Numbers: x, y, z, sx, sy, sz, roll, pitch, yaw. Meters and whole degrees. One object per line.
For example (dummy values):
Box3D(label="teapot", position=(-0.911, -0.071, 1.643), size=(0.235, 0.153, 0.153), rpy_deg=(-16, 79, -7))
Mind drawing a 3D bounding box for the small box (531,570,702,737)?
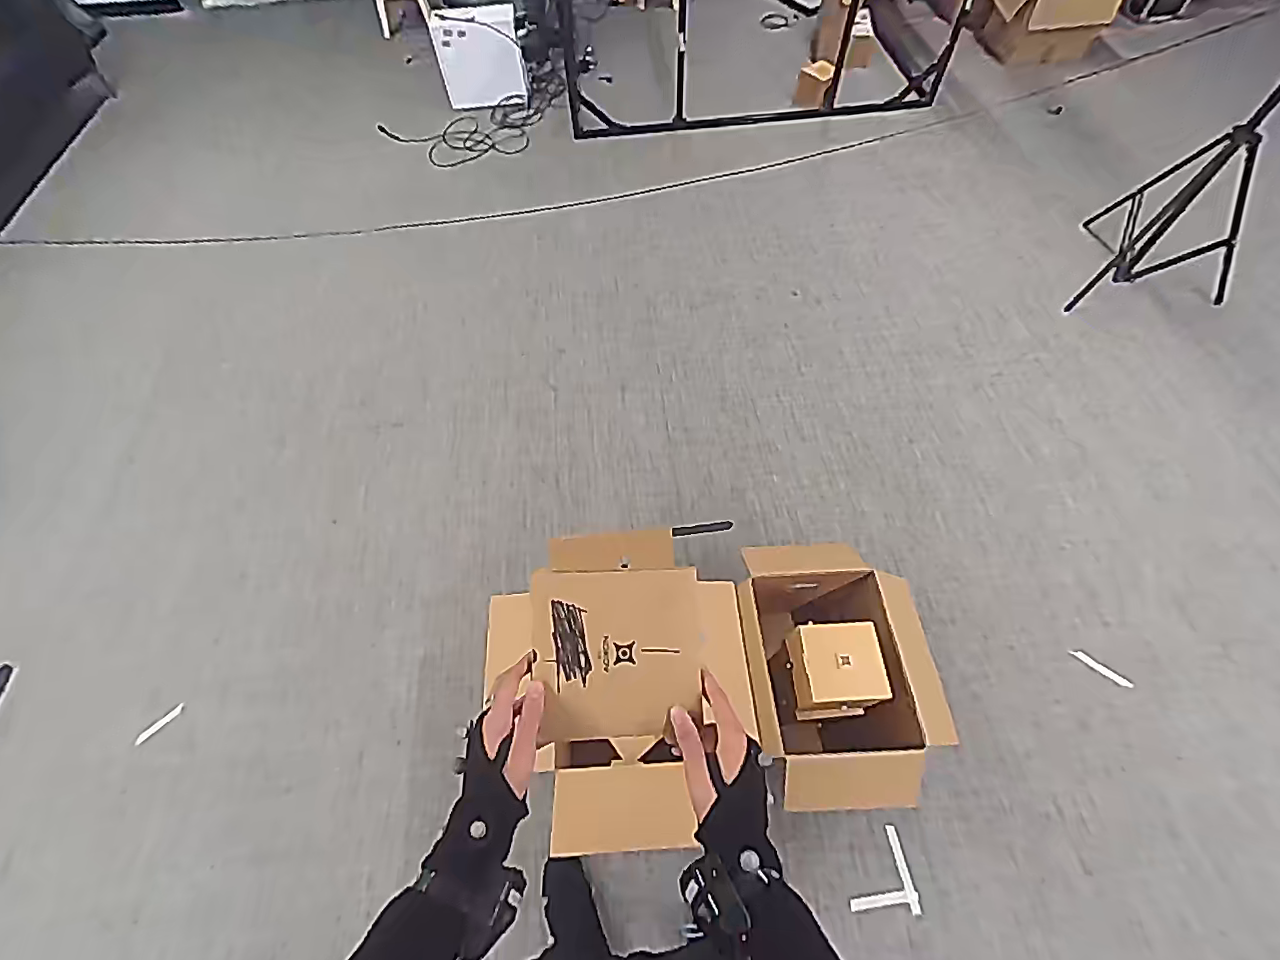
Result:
Box3D(label="small box", position=(-0.022, 0.191, 0.635), size=(0.179, 0.176, 0.168), rpy_deg=(-1, 81, 1))

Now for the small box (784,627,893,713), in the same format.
Box3D(label="small box", position=(0.451, 0.444, 1.256), size=(0.179, 0.176, 0.168), rpy_deg=(-3, 61, 0))
